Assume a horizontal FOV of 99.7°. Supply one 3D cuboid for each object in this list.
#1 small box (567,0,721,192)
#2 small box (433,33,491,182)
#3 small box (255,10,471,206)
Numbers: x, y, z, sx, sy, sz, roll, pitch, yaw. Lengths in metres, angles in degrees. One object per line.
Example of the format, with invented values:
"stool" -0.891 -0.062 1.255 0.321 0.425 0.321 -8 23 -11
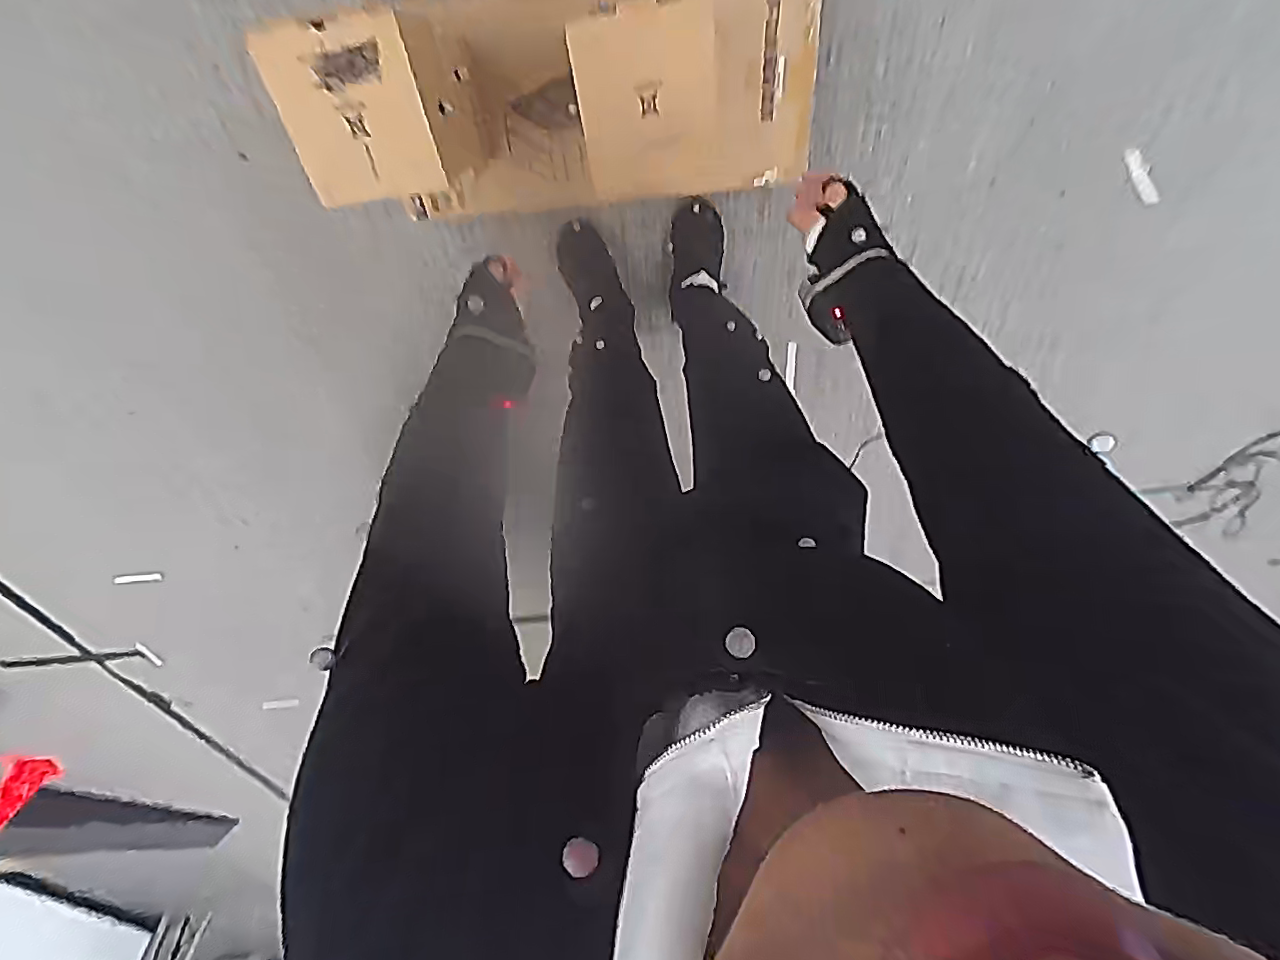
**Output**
"small box" 0.006 -0.500 0.703 0.168 0.176 0.179 -9 130 4
"small box" -0.340 -0.565 0.831 0.168 0.176 0.179 -6 129 0
"small box" -0.333 -0.474 0.694 0.168 0.176 0.179 -8 129 1
